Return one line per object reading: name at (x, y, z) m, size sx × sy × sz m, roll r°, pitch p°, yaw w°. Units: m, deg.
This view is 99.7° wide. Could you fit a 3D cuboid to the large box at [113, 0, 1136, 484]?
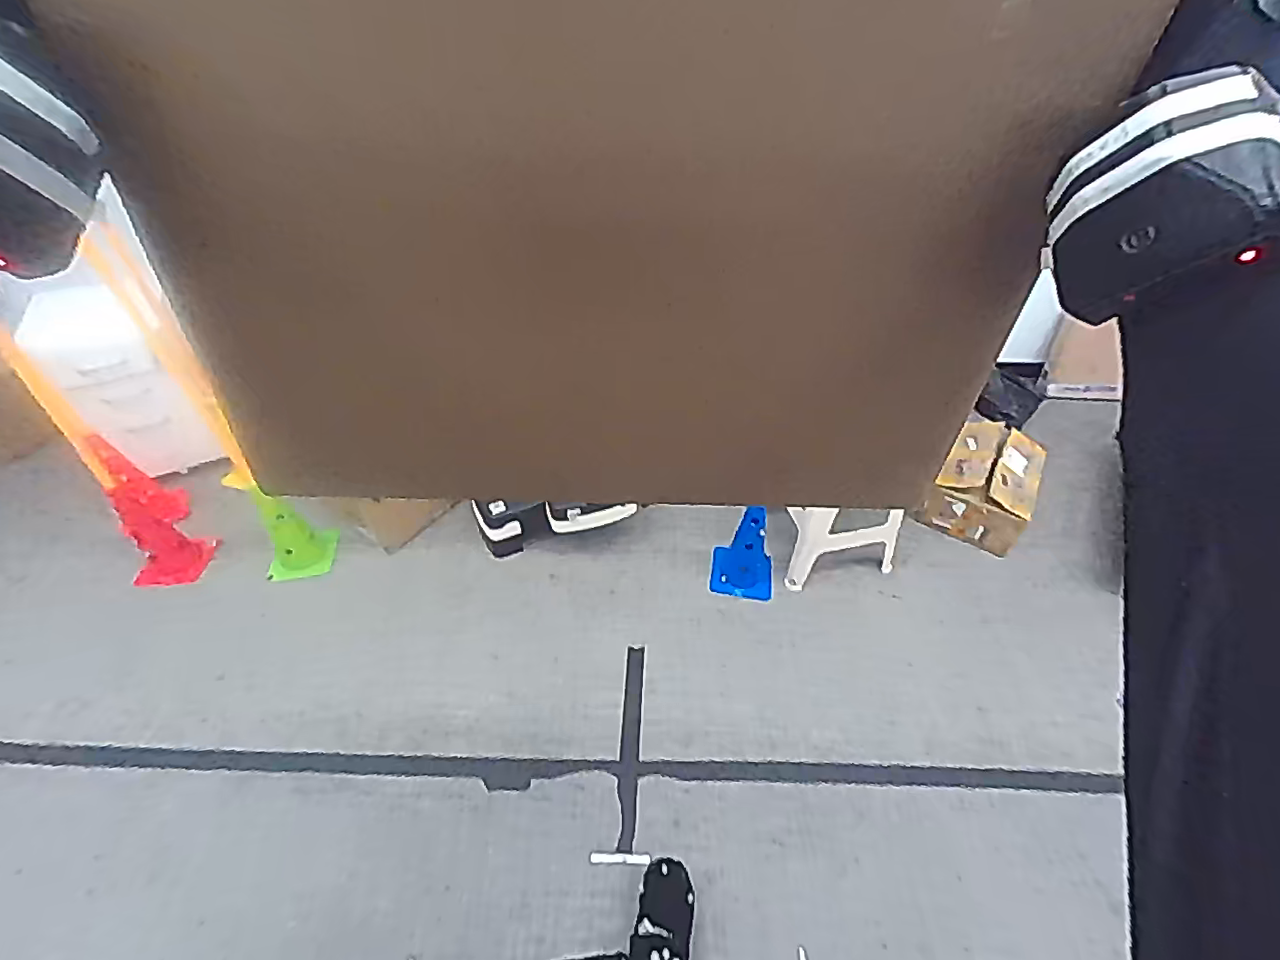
large box at (-0.014, -0.209, 0.371) m, size 0.408 × 0.320 × 0.320 m, roll 2°, pitch 38°, yaw -5°
